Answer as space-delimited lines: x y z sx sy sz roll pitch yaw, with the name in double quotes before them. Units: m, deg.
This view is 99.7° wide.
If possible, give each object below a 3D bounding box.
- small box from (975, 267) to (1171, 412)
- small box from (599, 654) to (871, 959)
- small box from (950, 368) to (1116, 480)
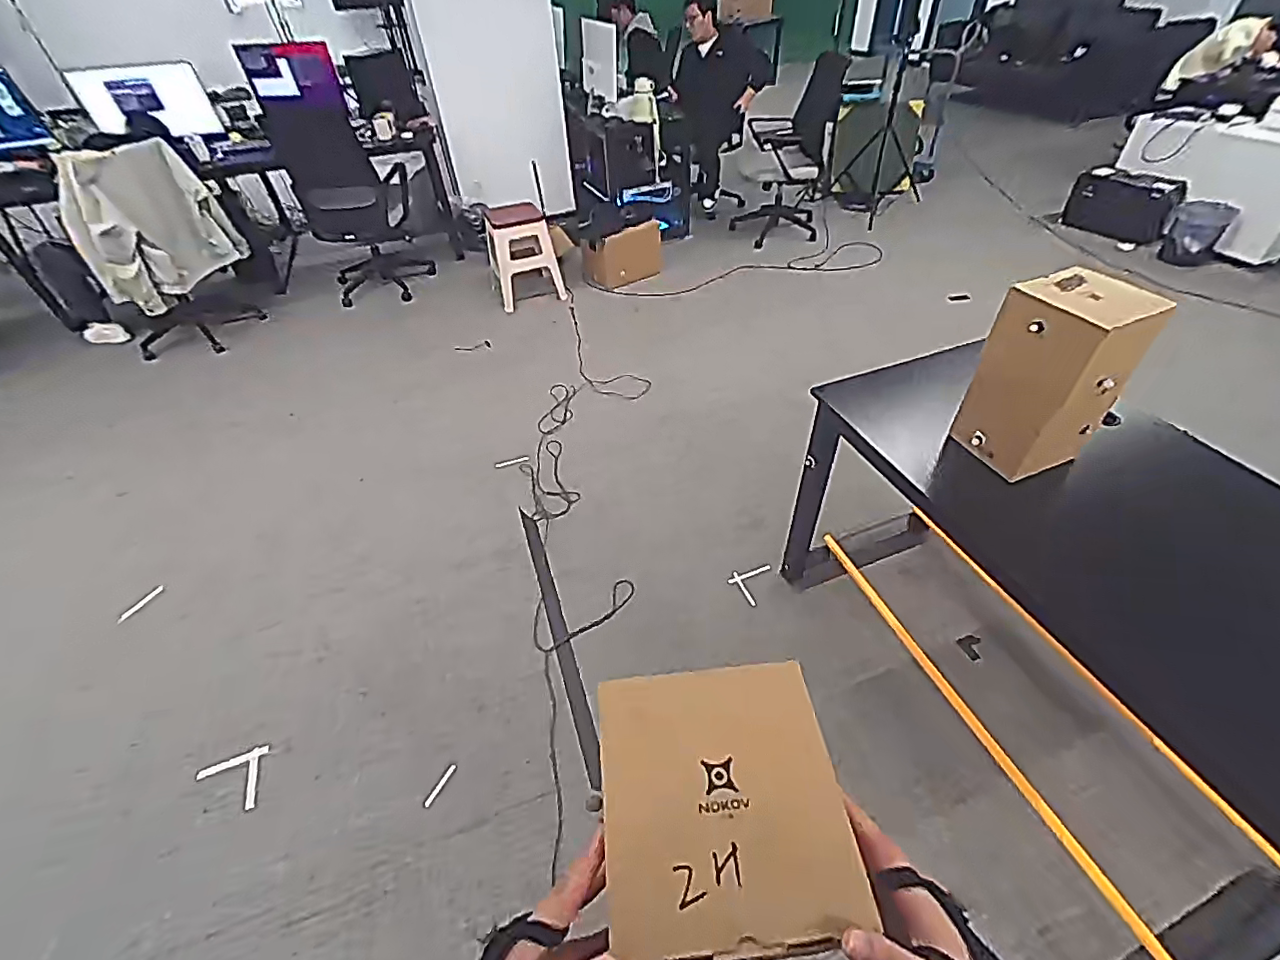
"small box" 0.738 -0.246 0.947 0.168 0.176 0.179 -19 46 -15
"small box" 0.055 0.267 0.440 0.168 0.176 0.179 -5 46 -2
"small box" 0.754 -0.129 1.062 0.179 0.176 0.168 -19 45 -13
